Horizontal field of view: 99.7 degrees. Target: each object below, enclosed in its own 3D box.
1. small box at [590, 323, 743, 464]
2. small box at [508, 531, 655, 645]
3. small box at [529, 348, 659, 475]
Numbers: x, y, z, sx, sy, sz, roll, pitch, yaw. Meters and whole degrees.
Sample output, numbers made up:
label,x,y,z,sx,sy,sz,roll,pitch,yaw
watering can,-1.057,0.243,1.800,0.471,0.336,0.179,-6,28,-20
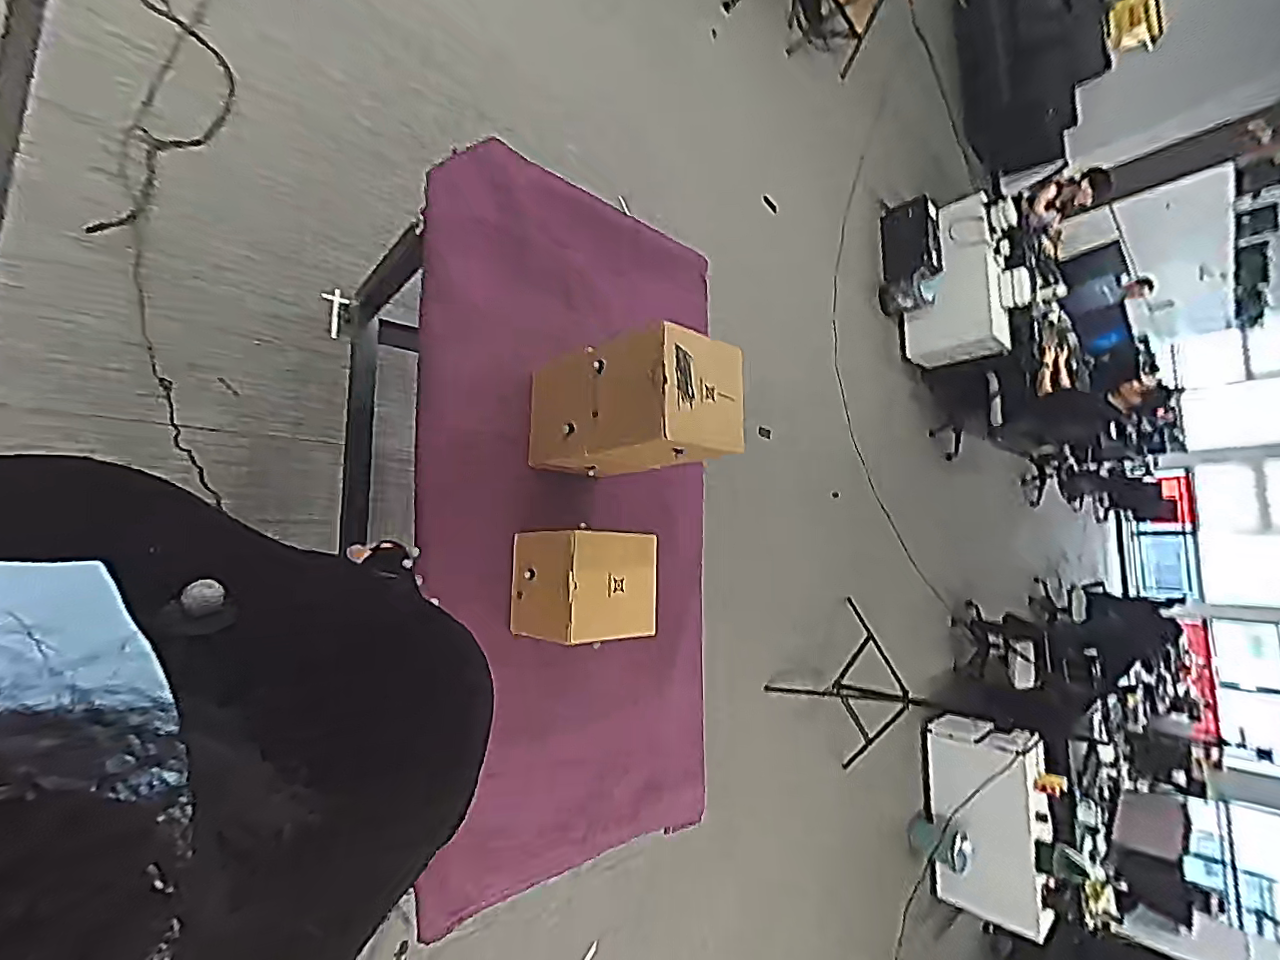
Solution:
label,x,y,z,sx,sy,sz,roll,pitch,yaw
small box,0.038,-0.118,0.831,0.179,0.176,0.168,6,82,-43
small box,-0.096,0.172,0.901,0.179,0.176,0.168,9,80,-43
small box,-0.080,-0.106,0.946,0.168,0.176,0.179,9,80,-43
